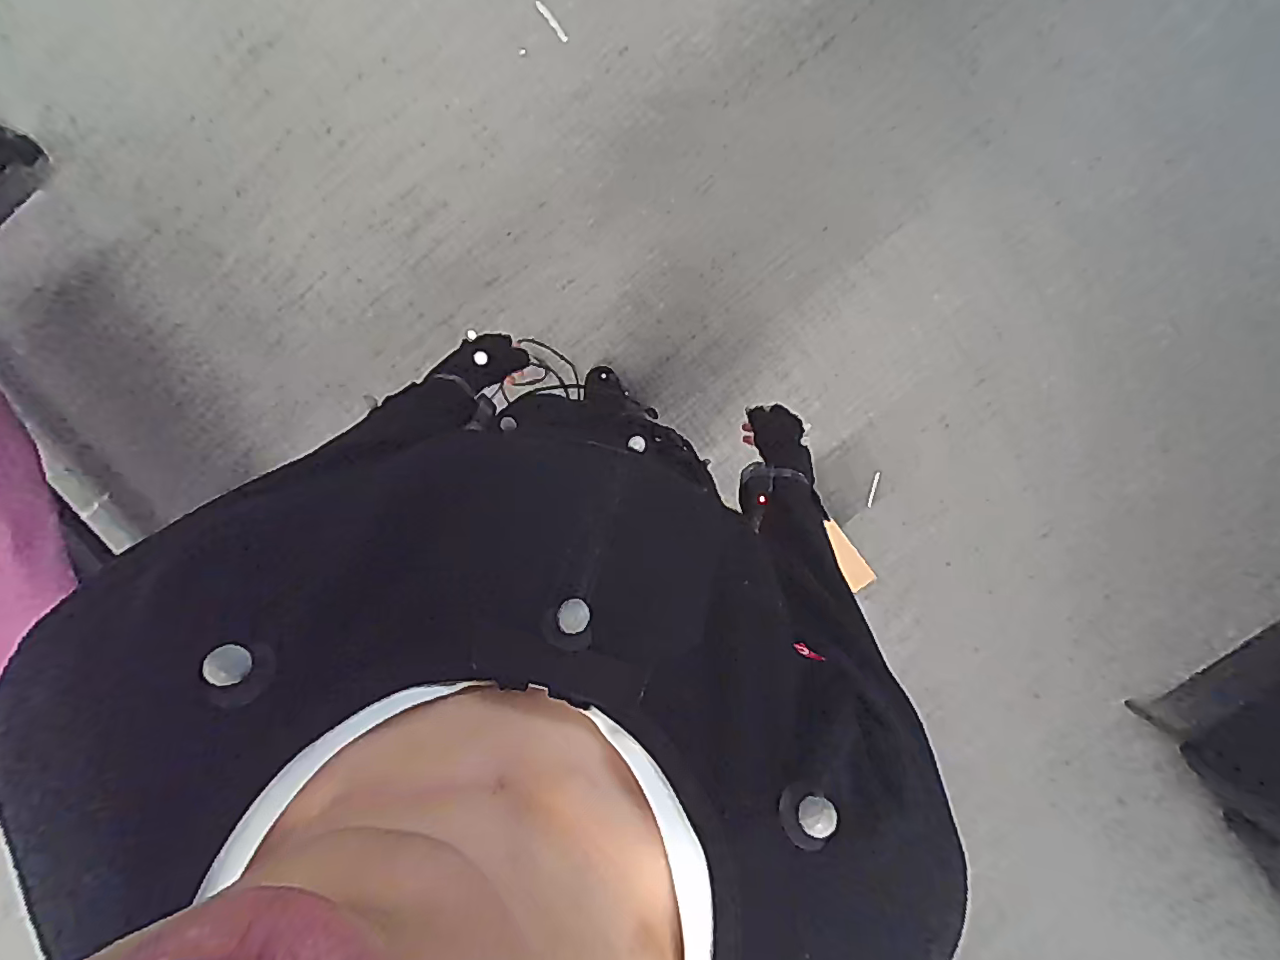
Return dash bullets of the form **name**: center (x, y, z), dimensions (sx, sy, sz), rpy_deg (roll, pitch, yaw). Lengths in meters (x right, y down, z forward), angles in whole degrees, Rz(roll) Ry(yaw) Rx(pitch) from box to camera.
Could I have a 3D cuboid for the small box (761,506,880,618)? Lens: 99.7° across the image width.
- **small box**: center (0.405, 0.176, 1.246), dimensions (0.168, 0.176, 0.179), rpy_deg (-38, 98, 6)
